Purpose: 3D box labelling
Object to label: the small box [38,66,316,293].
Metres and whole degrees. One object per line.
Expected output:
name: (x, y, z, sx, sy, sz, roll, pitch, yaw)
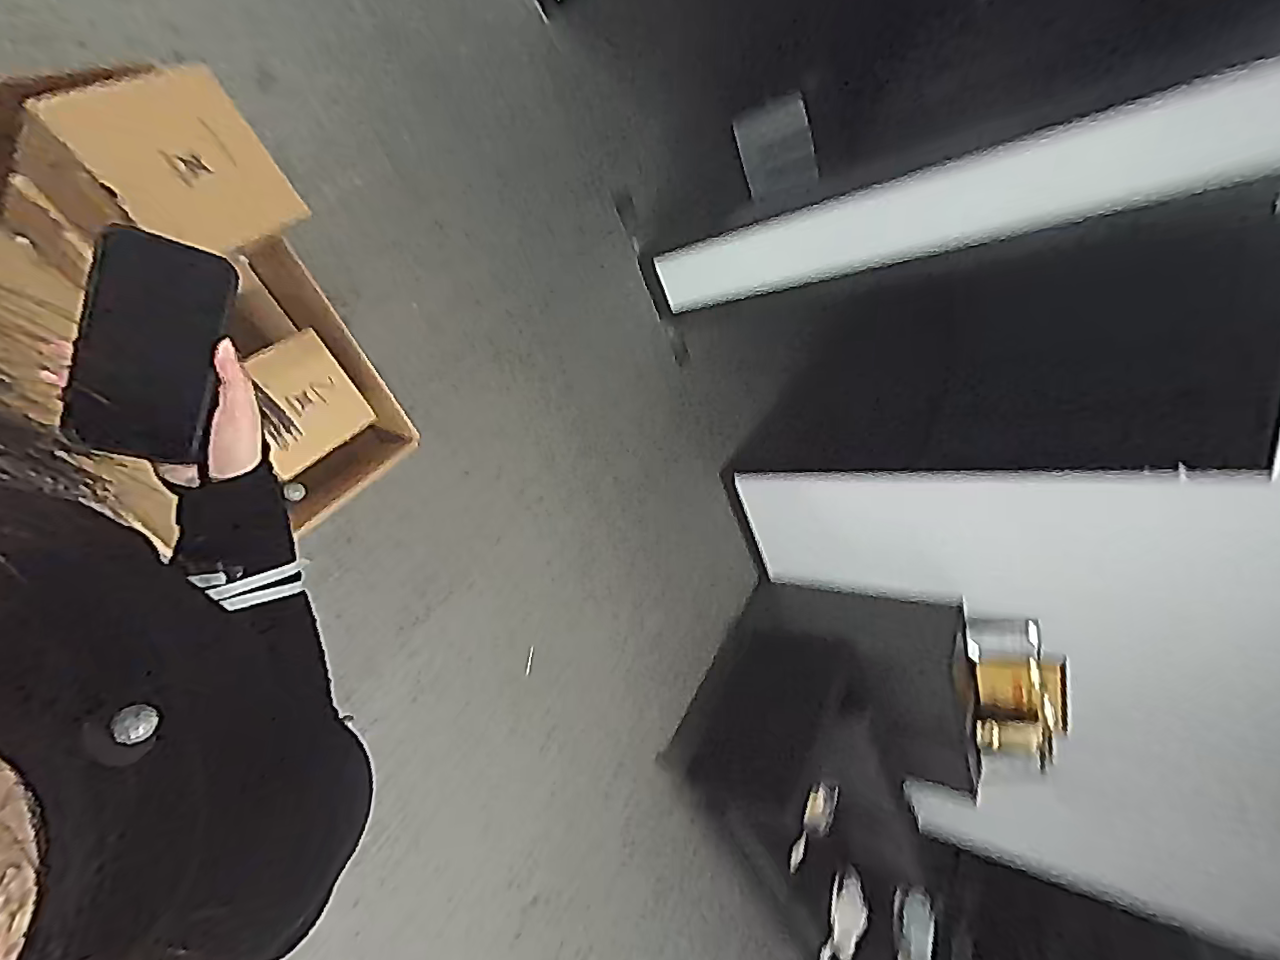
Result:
small box: (-0.540, -0.343, 0.639, 0.179, 0.176, 0.168, -54, 130, -36)
